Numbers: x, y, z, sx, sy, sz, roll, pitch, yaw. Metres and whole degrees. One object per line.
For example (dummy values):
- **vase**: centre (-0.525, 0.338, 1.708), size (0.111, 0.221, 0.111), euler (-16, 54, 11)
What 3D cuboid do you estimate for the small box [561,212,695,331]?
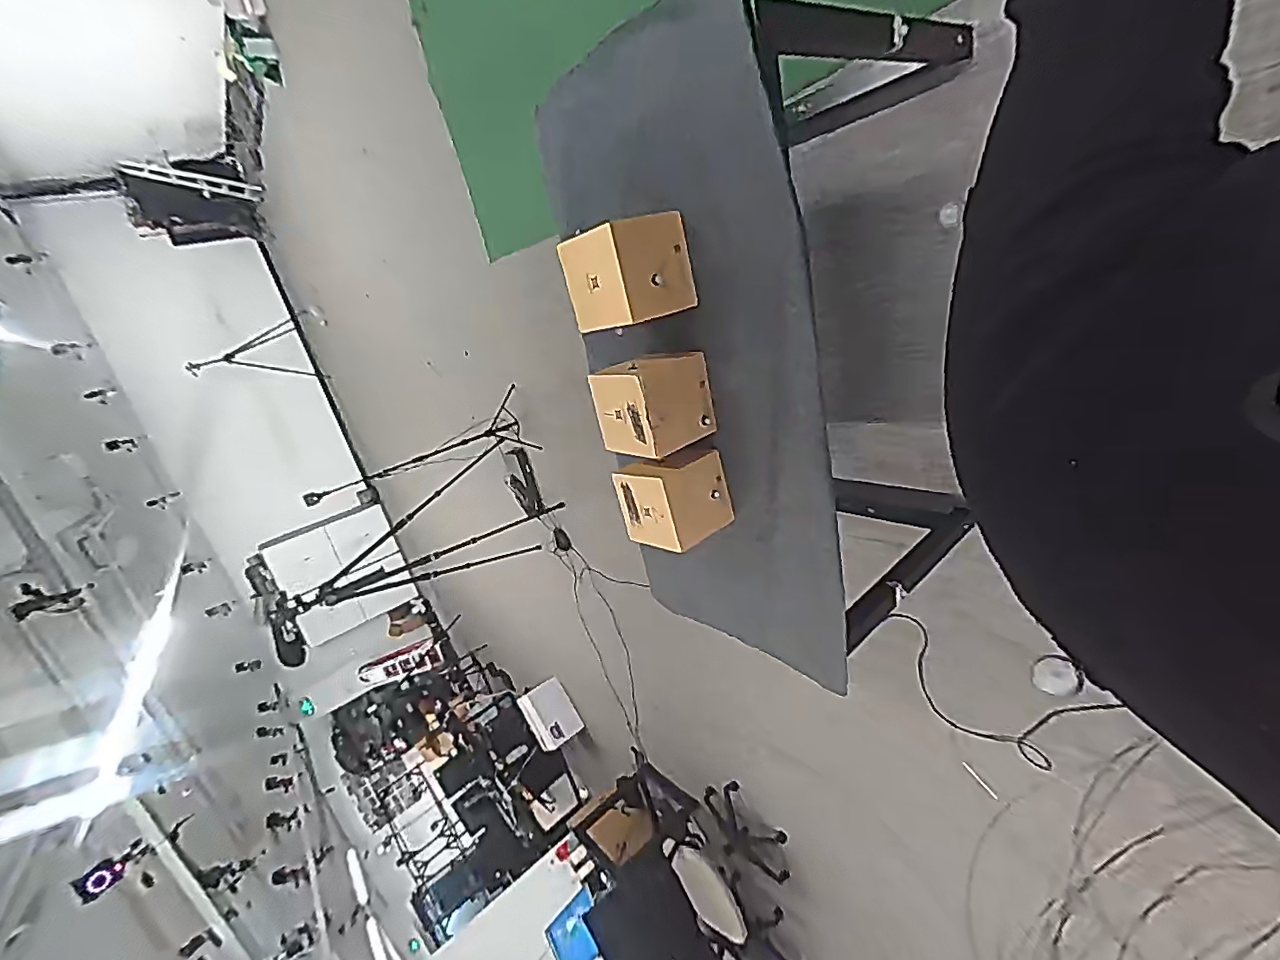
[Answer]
- **small box**: centre (-0.014, -0.387, 1.010), size (0.179, 0.176, 0.168), euler (11, 122, 52)
